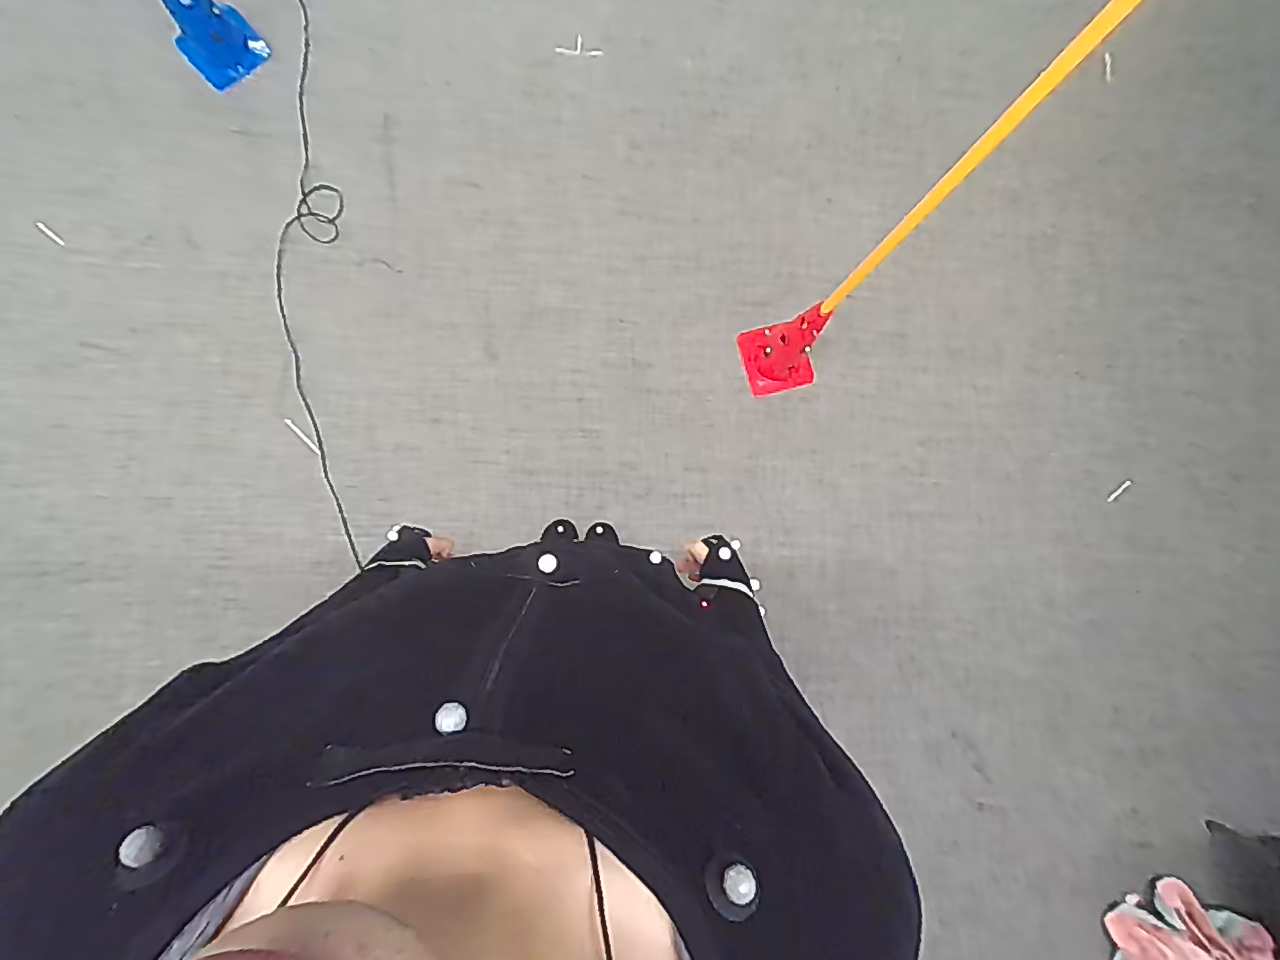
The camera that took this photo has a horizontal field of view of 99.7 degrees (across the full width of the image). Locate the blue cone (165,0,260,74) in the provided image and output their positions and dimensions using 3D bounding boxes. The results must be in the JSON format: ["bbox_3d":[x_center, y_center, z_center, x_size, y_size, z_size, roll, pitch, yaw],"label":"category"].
[{"bbox_3d":[-1.177,-1.258,1.355,0.193,0.380,0.192,-44,91,-4],"label":"blue cone"}]
